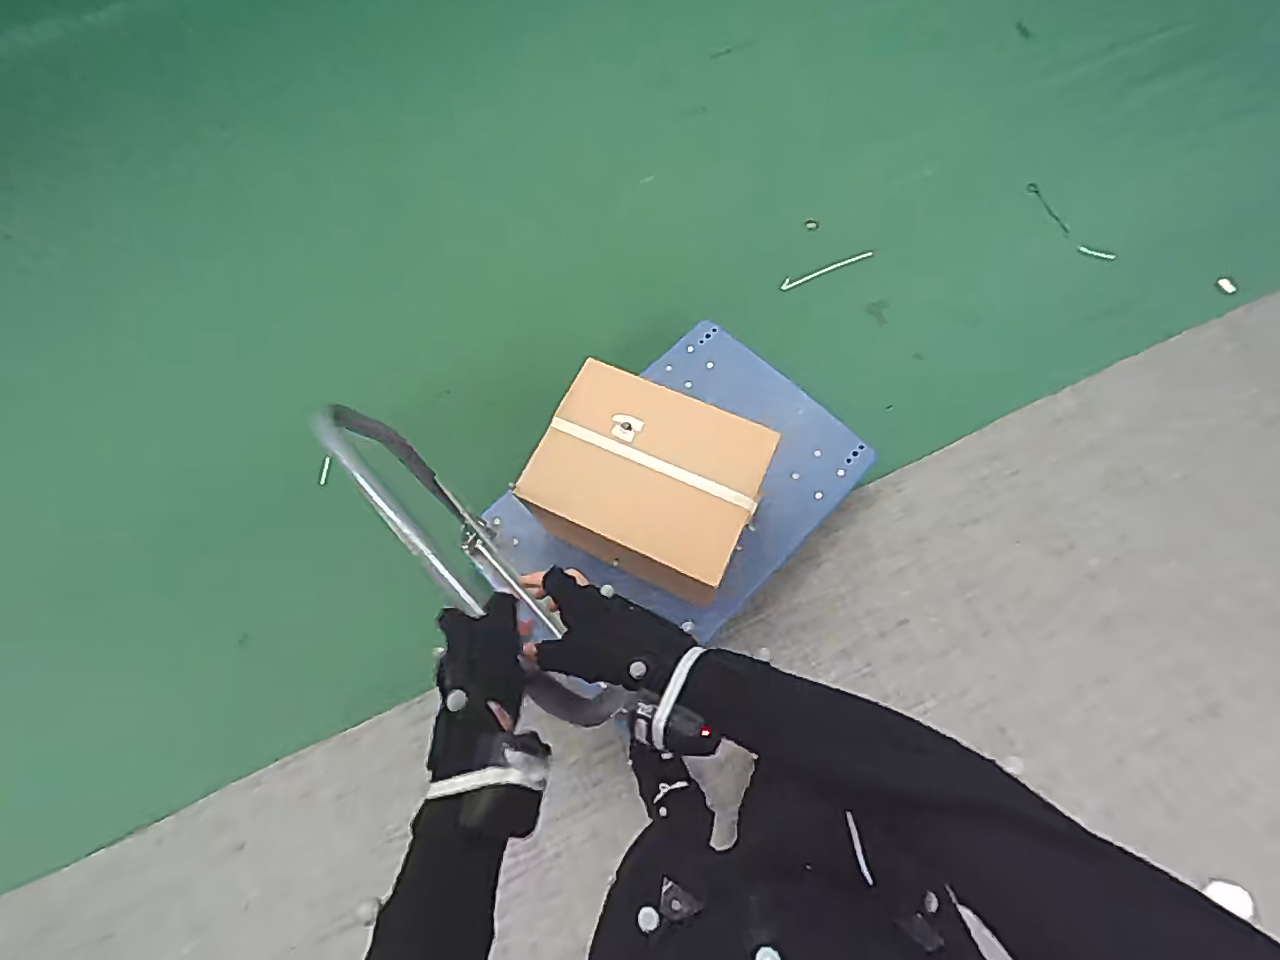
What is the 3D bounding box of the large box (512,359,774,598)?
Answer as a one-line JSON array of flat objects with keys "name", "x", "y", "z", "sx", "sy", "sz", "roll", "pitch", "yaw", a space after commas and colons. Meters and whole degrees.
[{"name": "large box", "x": 0.017, "y": 0.013, "z": 1.130, "sx": 0.408, "sy": 0.320, "sz": 0.320, "roll": 24, "pitch": 73, "yaw": 12}]
